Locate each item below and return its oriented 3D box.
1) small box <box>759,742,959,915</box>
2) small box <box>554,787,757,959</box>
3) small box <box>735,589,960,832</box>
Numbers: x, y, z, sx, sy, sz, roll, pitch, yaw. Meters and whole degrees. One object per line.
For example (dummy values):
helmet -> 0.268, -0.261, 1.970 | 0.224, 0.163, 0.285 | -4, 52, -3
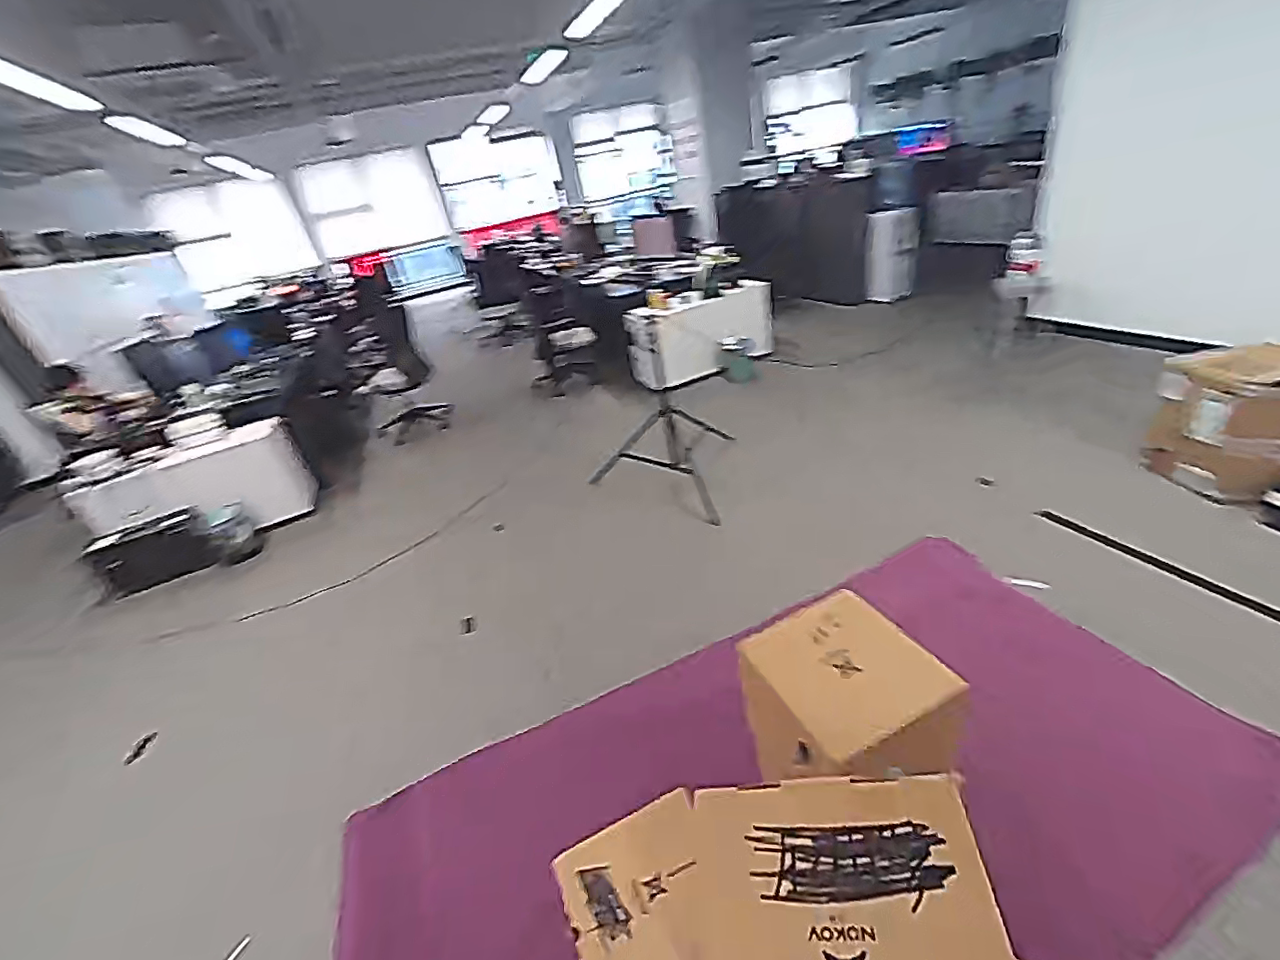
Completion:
small box -> 0.275, 0.409, 0.708 | 0.179, 0.176, 0.168 | -22, 31, -15
small box -> 0.022, 0.512, 0.624 | 0.179, 0.176, 0.168 | -20, 30, -16
small box -> 0.234, 0.268, 0.632 | 0.168, 0.176, 0.179 | -21, 30, -15
